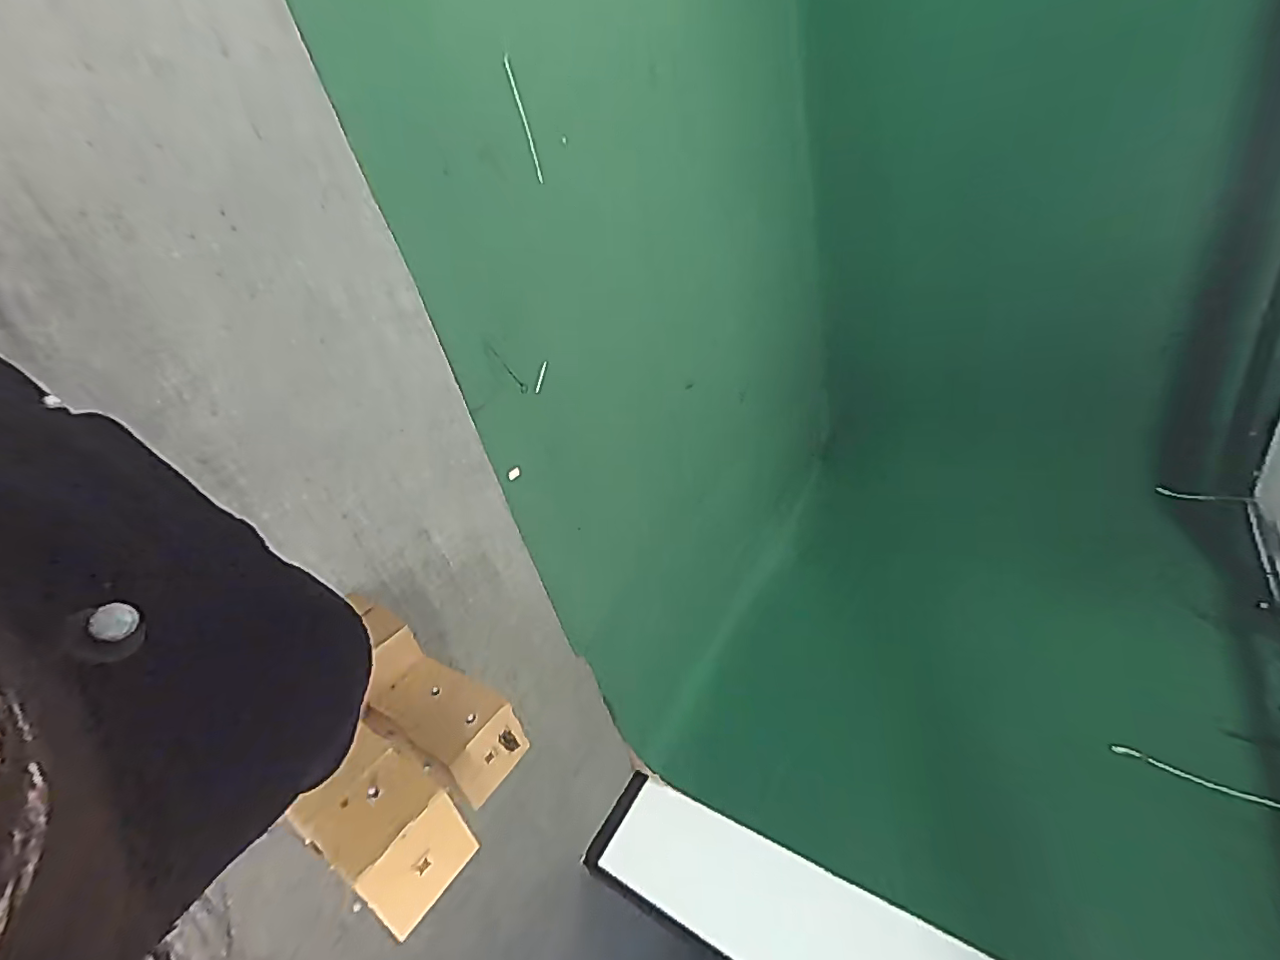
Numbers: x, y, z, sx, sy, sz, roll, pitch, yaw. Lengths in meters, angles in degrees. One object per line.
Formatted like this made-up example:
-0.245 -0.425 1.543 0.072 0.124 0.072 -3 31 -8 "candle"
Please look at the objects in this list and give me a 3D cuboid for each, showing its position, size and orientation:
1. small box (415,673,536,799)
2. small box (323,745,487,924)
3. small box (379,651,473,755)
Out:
-0.378 0.580 1.249 0.179 0.176 0.168 -45 131 -42 "small box"
-0.405 0.602 0.940 0.168 0.176 0.179 -42 128 -41 "small box"
-0.508 0.559 1.350 0.168 0.176 0.179 -43 131 -42 "small box"
